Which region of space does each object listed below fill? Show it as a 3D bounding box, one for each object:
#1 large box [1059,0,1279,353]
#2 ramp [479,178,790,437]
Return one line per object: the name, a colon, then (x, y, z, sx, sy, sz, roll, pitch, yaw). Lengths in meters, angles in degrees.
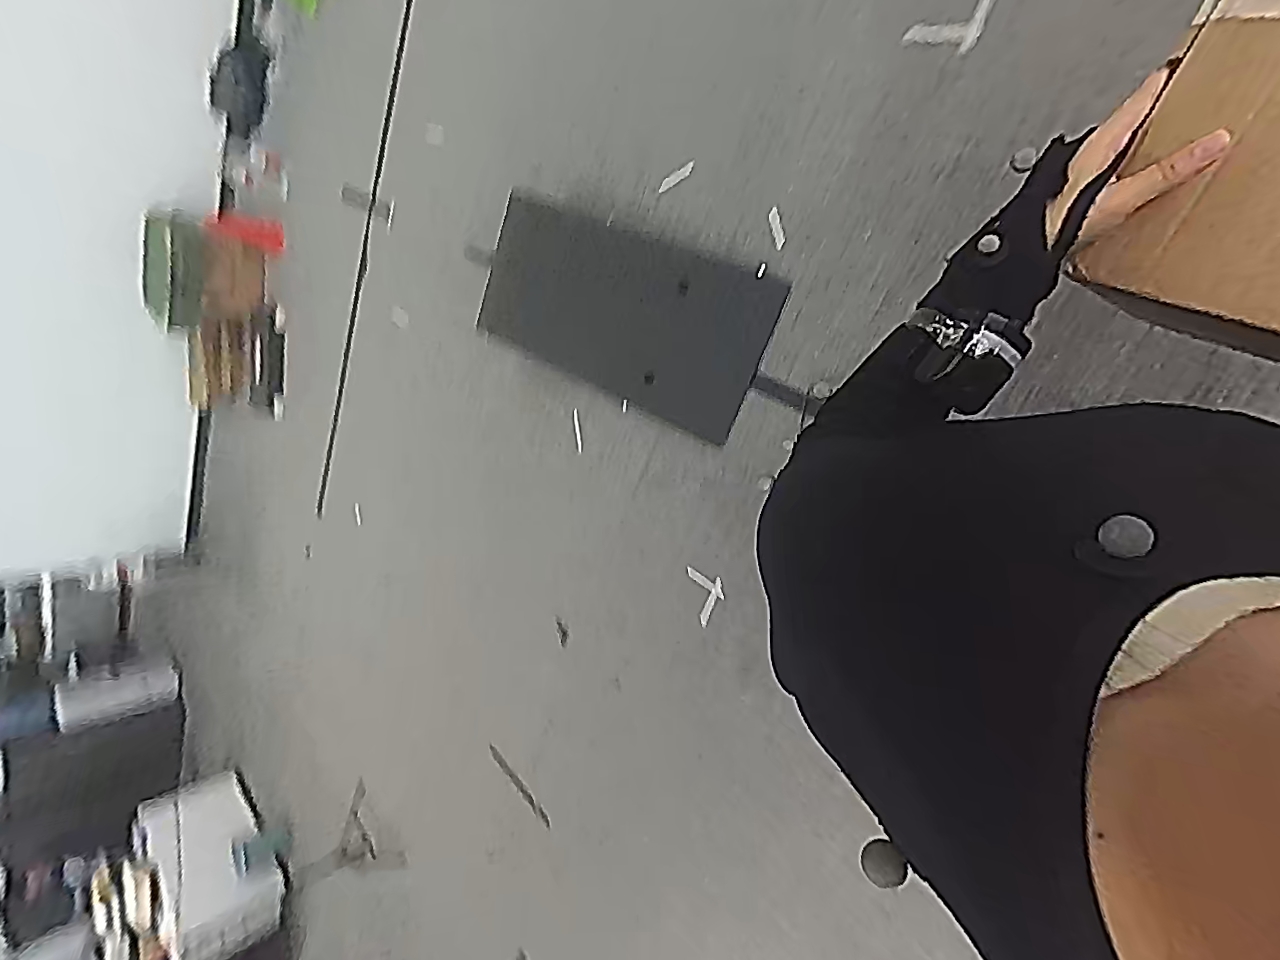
large box: (0.563, -0.201, 0.293, 0.408, 0.320, 0.320, 40, 125, 38)
ramp: (-0.082, -0.562, 1.684, 0.991, 0.206, 0.509, 31, 110, 31)
